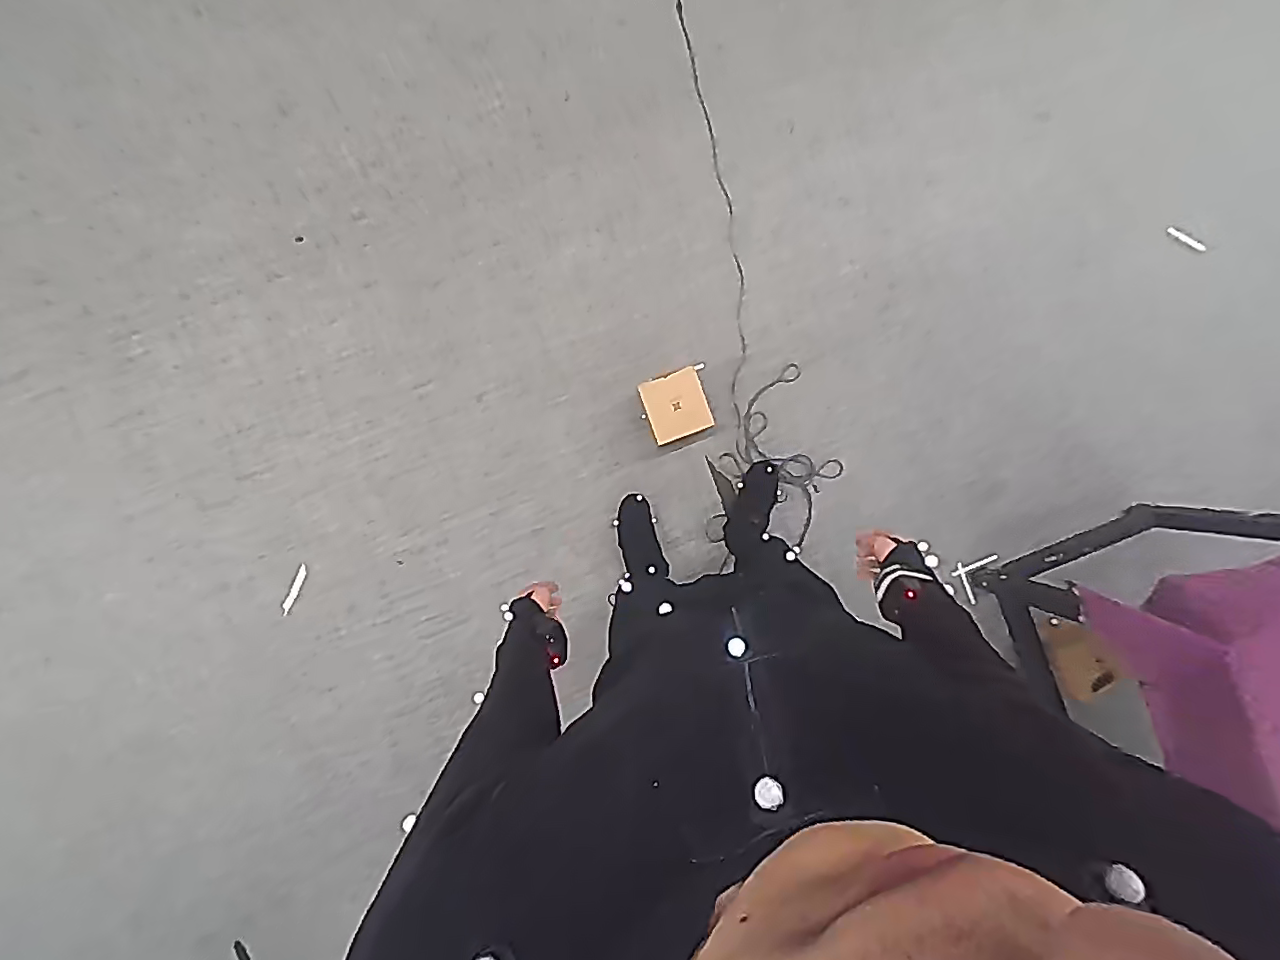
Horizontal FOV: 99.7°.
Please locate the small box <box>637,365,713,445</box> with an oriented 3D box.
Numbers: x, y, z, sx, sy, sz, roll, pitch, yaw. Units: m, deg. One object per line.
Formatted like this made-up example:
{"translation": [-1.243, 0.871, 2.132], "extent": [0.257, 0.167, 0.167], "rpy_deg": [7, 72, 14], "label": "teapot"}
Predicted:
{"translation": [0.093, -0.207, 1.546], "extent": [0.168, 0.176, 0.179], "rpy_deg": [-20, 92, 0], "label": "small box"}
